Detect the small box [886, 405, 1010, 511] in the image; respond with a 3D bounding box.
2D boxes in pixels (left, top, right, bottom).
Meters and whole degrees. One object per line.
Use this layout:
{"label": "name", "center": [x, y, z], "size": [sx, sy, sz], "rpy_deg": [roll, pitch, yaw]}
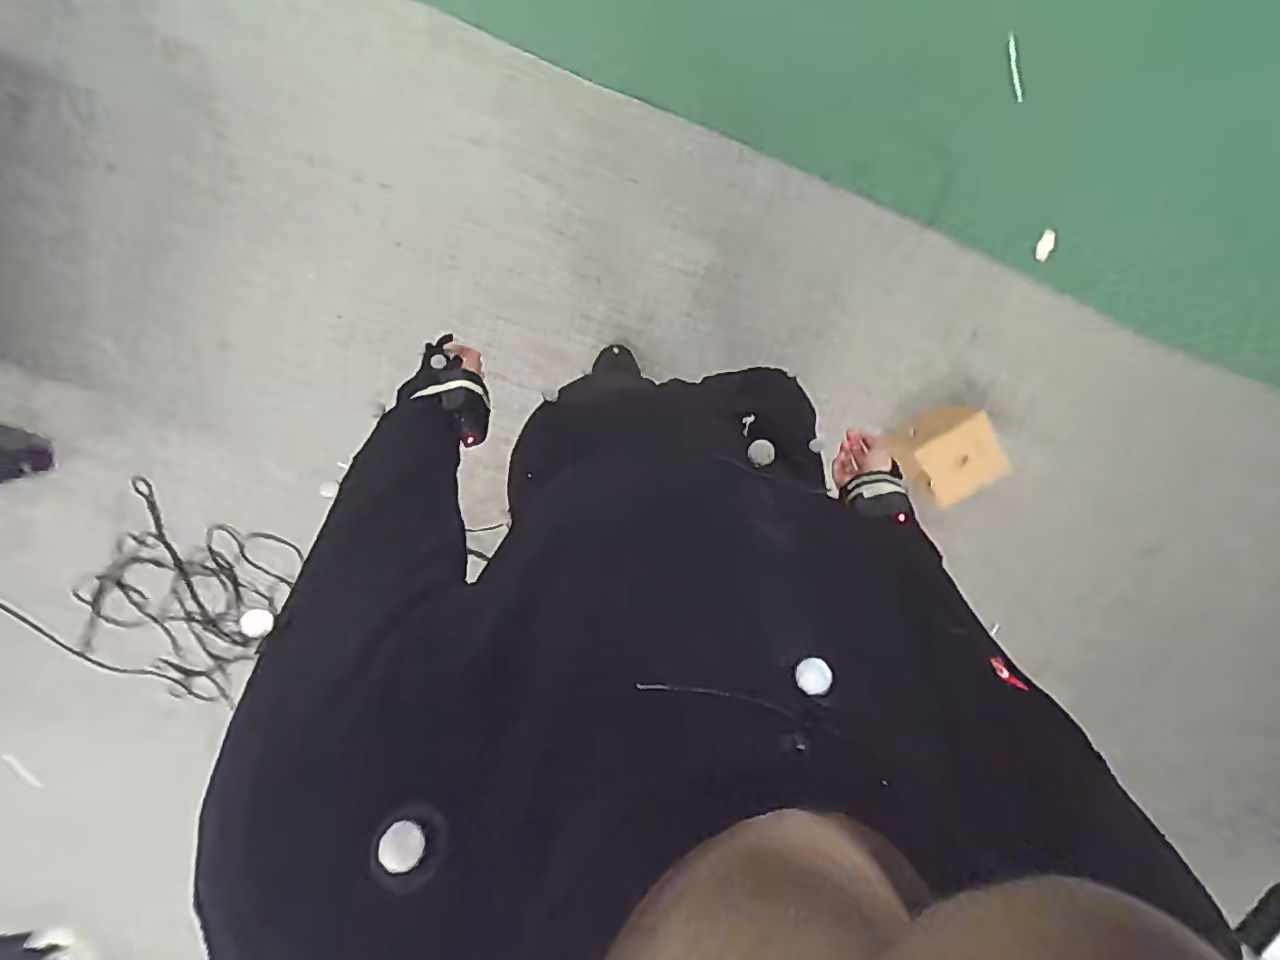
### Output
{"label": "small box", "center": [0.714, -0.058, 1.281], "size": [0.179, 0.176, 0.168], "rpy_deg": [-32, 105, 6]}
